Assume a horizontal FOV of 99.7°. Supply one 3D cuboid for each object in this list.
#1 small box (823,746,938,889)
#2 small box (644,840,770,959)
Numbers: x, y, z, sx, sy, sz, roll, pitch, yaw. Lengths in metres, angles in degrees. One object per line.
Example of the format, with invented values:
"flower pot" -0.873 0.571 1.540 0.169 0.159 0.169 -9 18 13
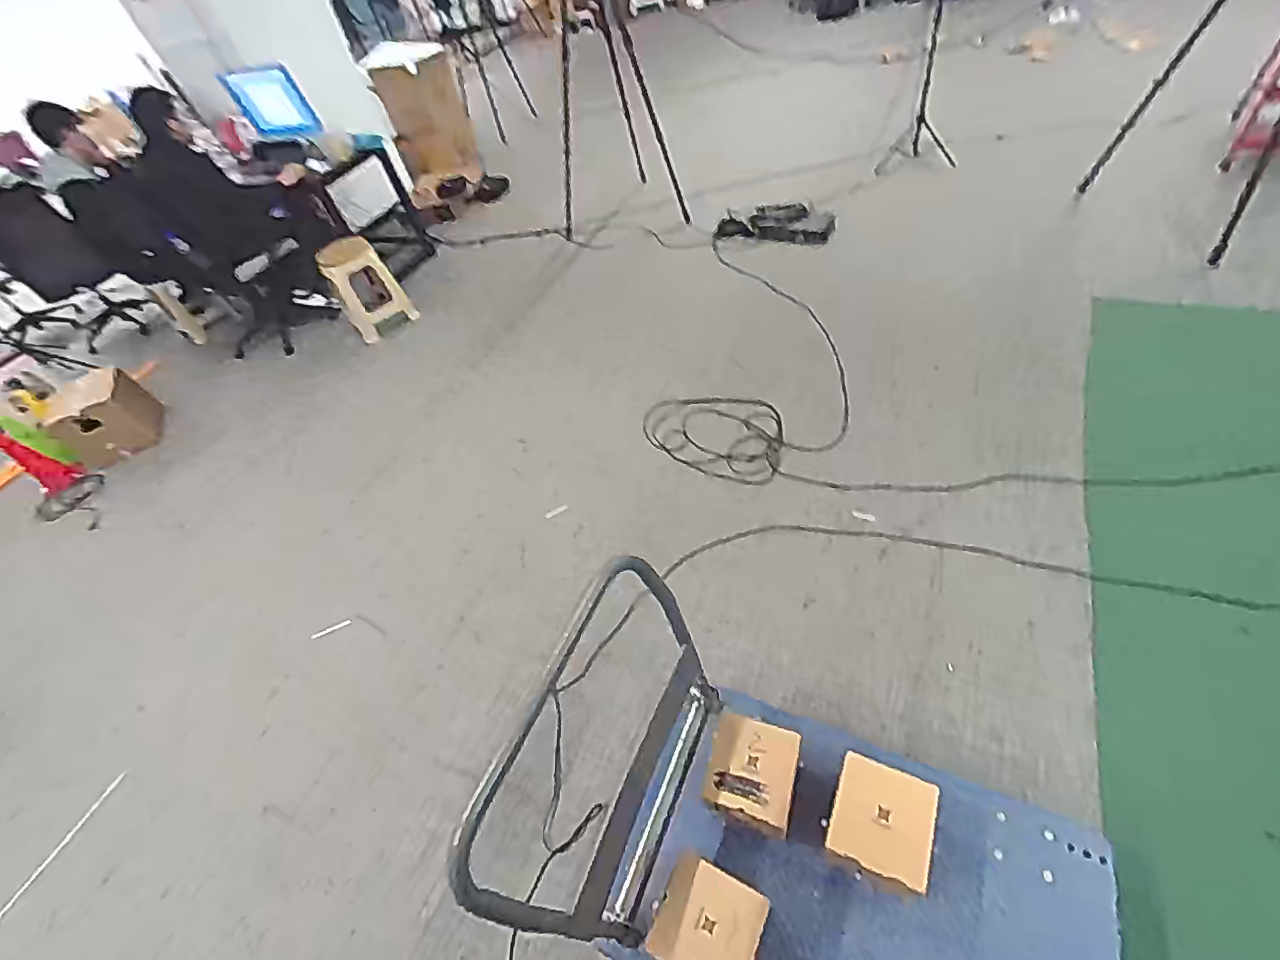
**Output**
"small box" 0.461 0.659 1.055 0.168 0.176 0.179 14 57 24
"small box" 0.132 0.813 1.006 0.179 0.176 0.168 16 56 25
